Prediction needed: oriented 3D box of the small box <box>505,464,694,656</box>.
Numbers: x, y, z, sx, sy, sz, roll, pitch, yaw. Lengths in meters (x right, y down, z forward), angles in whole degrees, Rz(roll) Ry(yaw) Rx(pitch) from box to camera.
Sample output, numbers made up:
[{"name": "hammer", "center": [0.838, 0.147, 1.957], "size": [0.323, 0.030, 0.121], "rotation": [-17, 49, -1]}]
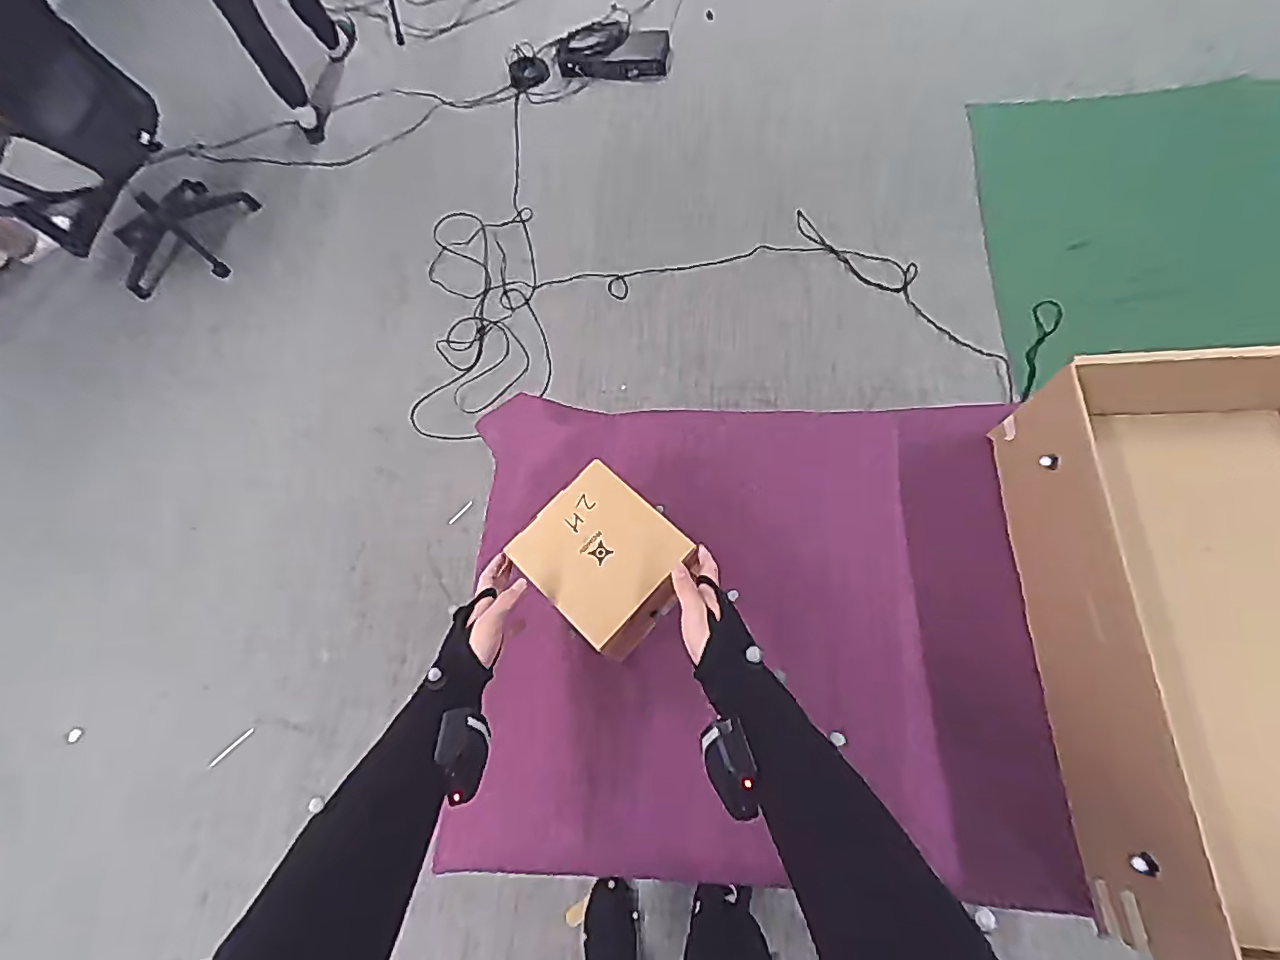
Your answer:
[{"name": "small box", "center": [-0.041, 0.115, 0.720], "size": [0.179, 0.176, 0.168], "rotation": [41, 78, 20]}]
